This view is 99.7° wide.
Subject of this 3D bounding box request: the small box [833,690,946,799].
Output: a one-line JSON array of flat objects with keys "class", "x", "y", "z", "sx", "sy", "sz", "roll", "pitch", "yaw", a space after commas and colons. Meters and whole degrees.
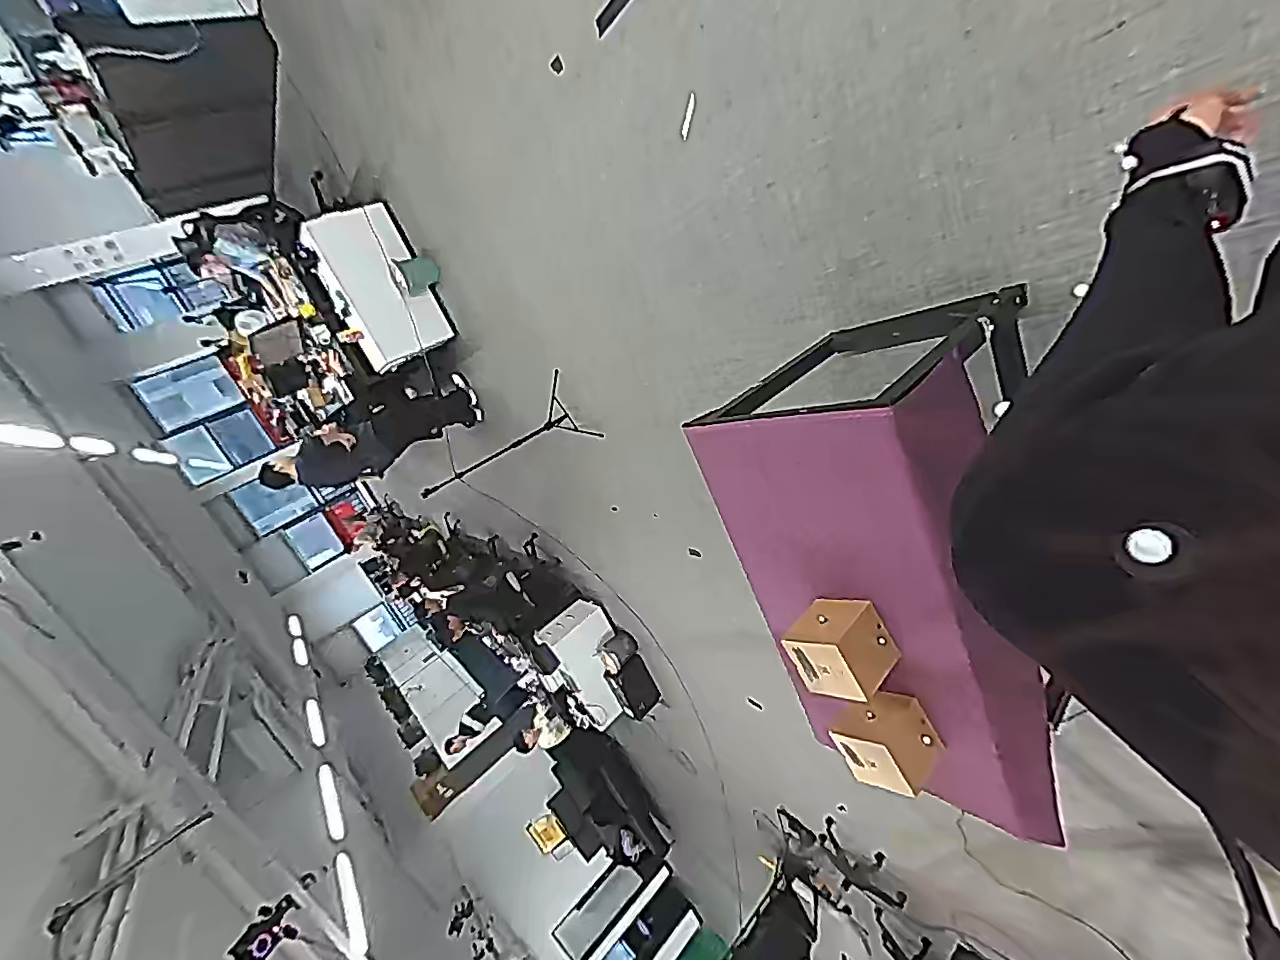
[{"class": "small box", "x": 0.645, "y": 0.670, "z": 1.397, "sx": 0.168, "sy": 0.176, "sz": 0.179, "roll": 57, "pitch": 150, "yaw": -6}]
